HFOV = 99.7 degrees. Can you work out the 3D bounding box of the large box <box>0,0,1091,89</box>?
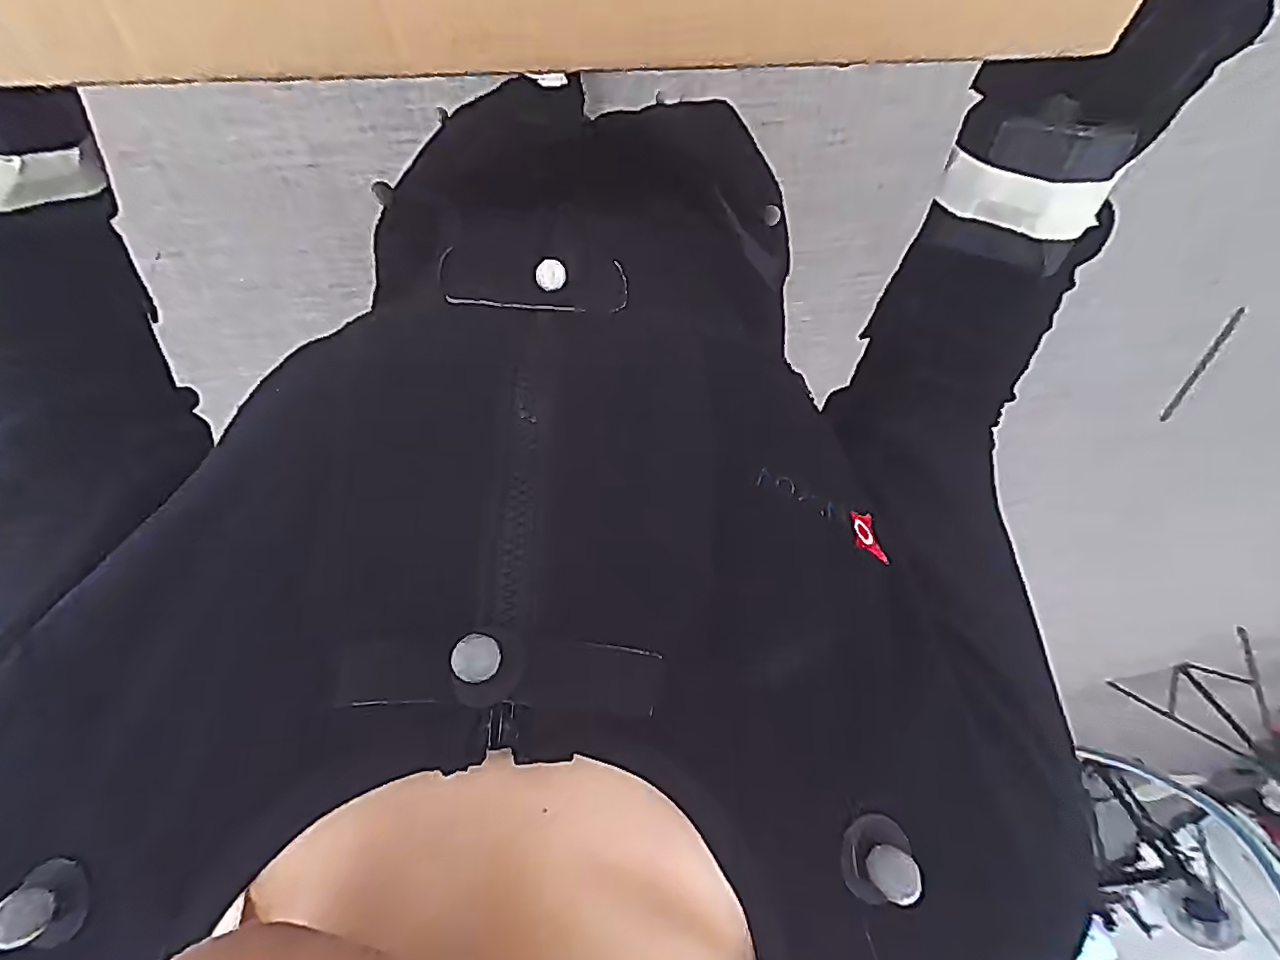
[{"bbox_3d":[-0.050,-0.358,0.159,0.408,0.320,0.320,-2,143,-1],"label":"large box"}]
